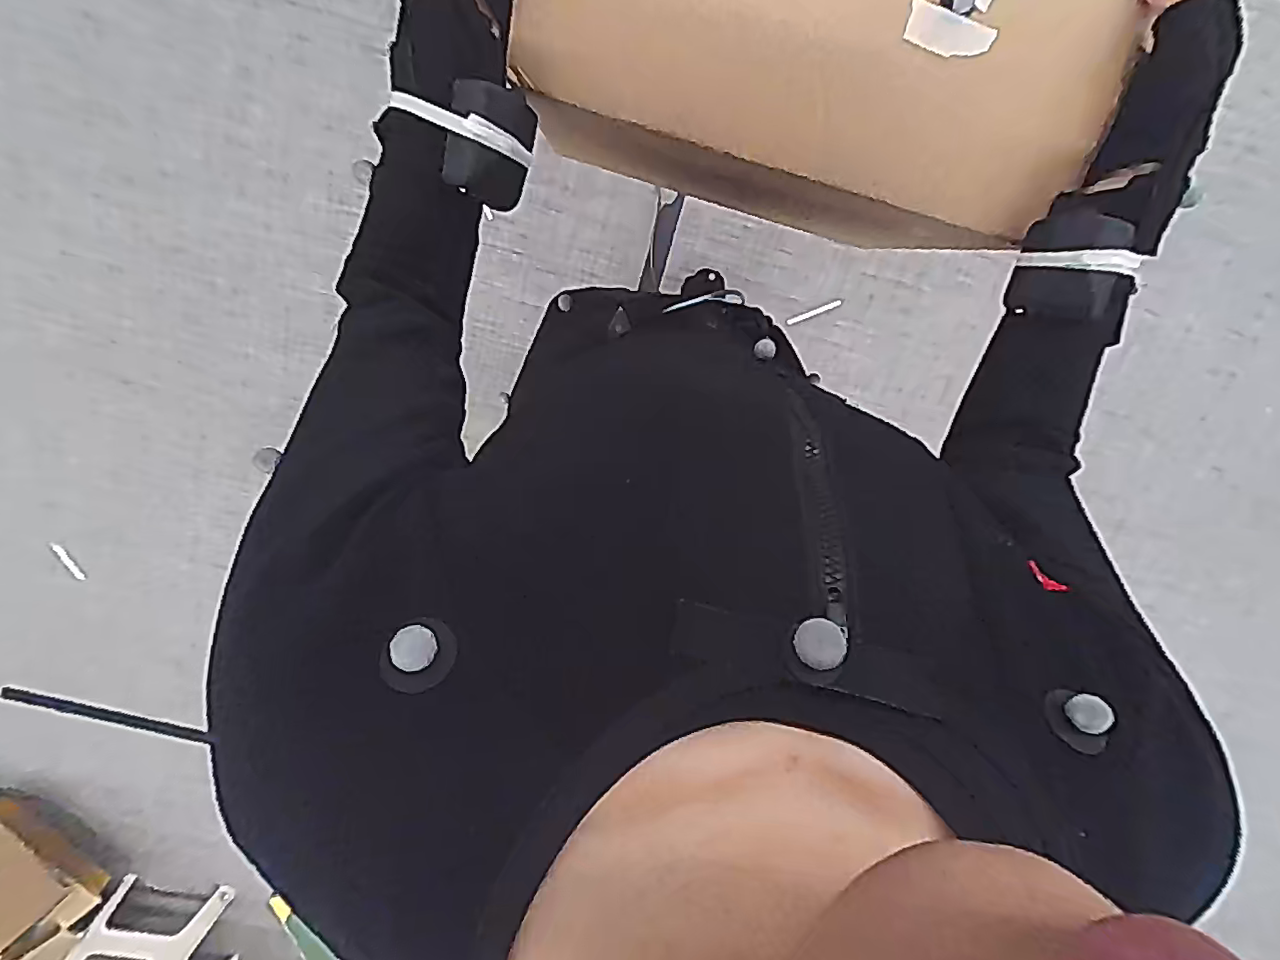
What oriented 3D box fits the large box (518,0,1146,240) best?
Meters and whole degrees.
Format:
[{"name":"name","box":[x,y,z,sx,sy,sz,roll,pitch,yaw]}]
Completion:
[{"name":"large box","box":[0.134,-0.418,0.466,0.408,0.320,0.320,12,114,-9]}]
